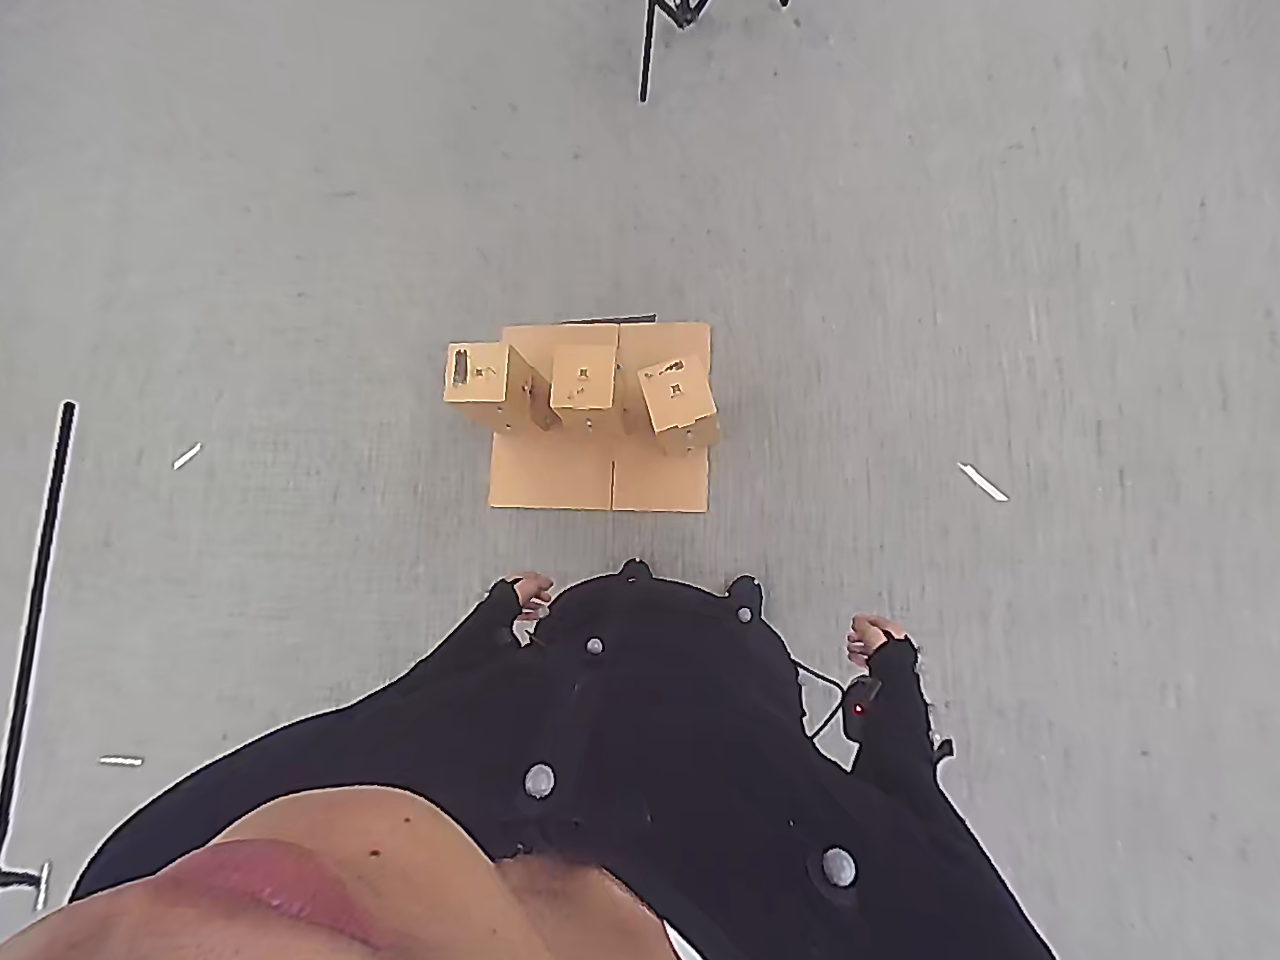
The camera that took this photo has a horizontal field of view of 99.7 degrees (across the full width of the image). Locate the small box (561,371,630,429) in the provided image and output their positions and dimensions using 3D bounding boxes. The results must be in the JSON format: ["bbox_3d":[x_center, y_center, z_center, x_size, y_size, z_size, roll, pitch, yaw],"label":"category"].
[{"bbox_3d":[-0.129,-0.253,1.642,0.179,0.176,0.168,3,83,7],"label":"small box"}]

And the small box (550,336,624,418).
[{"bbox_3d":[-0.139,-0.277,1.479,0.168,0.176,0.179,3,83,7],"label":"small box"}]

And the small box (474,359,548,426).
[{"bbox_3d":[-0.393,-0.268,1.675,0.179,0.176,0.168,1,82,9],"label":"small box"}]

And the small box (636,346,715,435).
[{"bbox_3d":[0.101,-0.228,1.445,0.168,0.176,0.179,-17,81,5],"label":"small box"}]

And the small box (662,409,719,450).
[{"bbox_3d":[0.128,-0.206,1.604,0.168,0.176,0.179,-19,80,5],"label":"small box"}]
